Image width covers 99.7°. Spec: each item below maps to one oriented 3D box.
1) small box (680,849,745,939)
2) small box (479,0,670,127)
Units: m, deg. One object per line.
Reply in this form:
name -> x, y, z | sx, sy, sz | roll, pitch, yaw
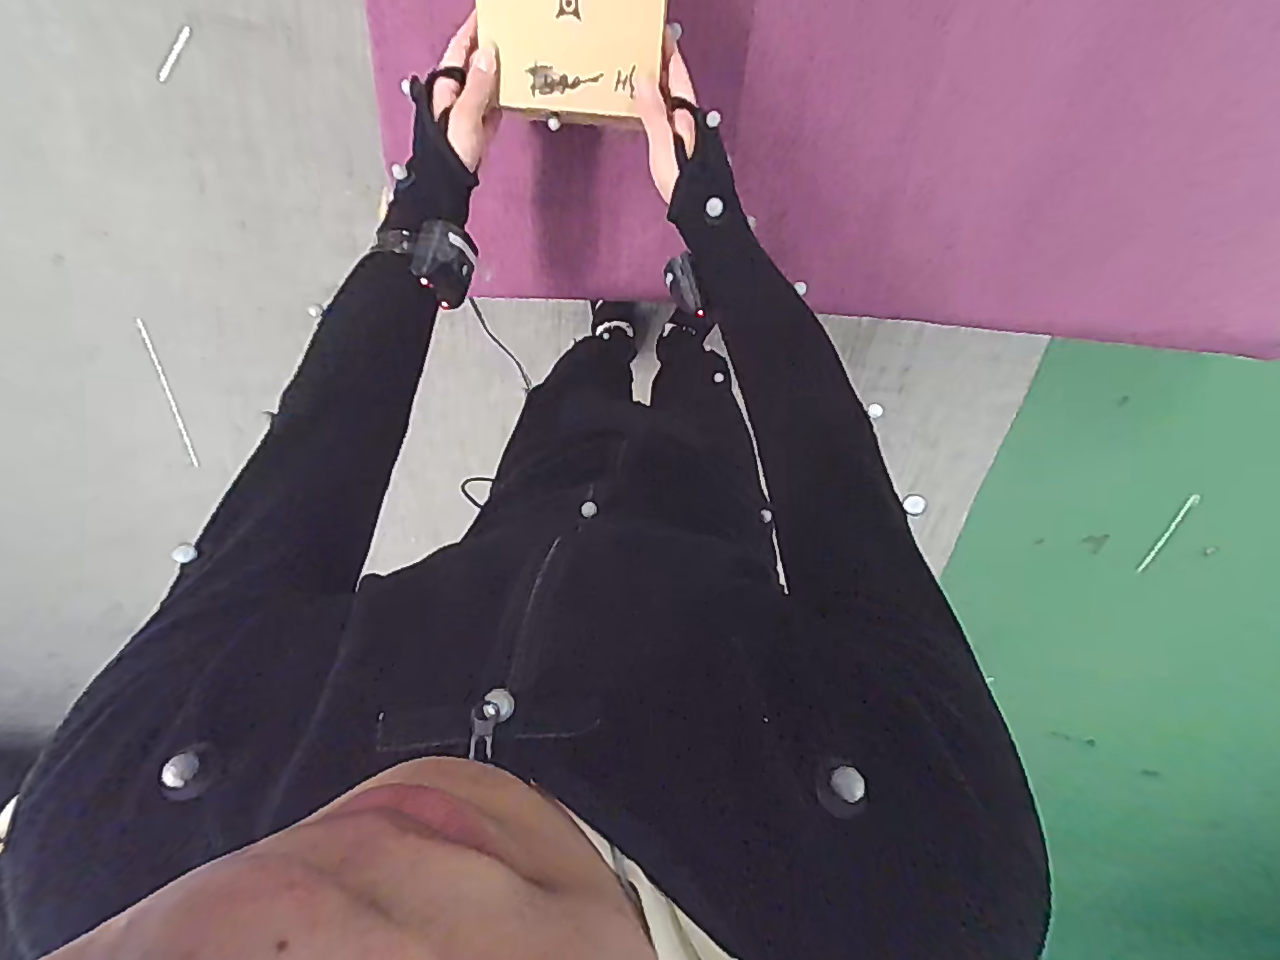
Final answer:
small box -> 0.219, 1.299, 1.698 | 0.168, 0.176, 0.179 | 8, 120, -3
small box -> -0.055, -0.463, 0.529 | 0.168, 0.176, 0.179 | 5, 120, -1
